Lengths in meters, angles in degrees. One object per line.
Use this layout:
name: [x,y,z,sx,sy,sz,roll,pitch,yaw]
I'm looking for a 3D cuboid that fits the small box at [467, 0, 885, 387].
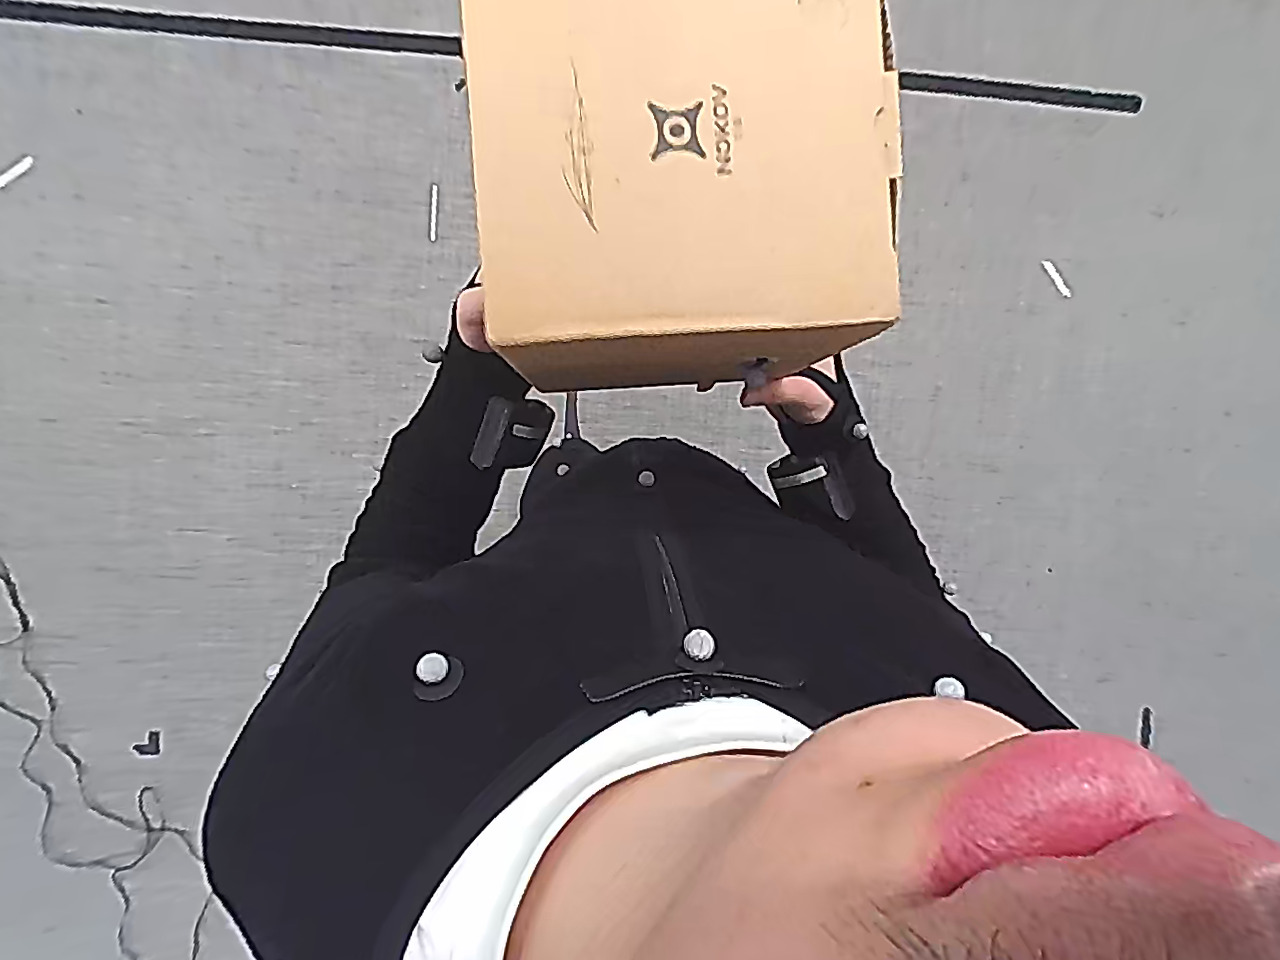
small box: [0.014,-0.150,0.313,0.179,0.176,0.168,-6,93,-3]
